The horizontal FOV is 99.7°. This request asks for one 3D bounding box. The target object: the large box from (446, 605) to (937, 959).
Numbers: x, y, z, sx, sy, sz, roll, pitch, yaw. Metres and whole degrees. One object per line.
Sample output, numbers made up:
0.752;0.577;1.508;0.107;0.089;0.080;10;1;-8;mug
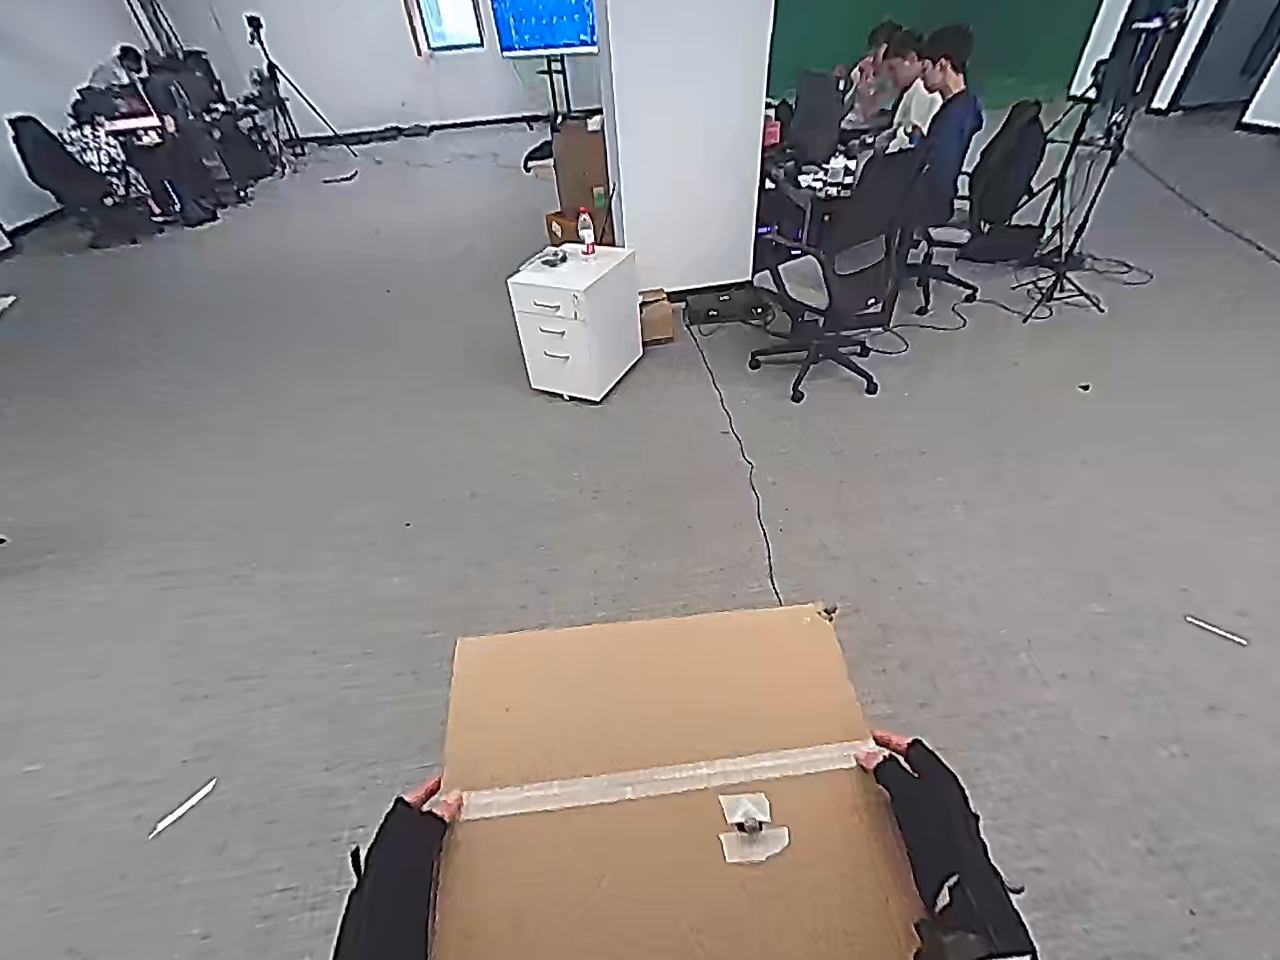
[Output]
0.025;0.372;0.627;0.408;0.320;0.320;-4;52;-5;large box
